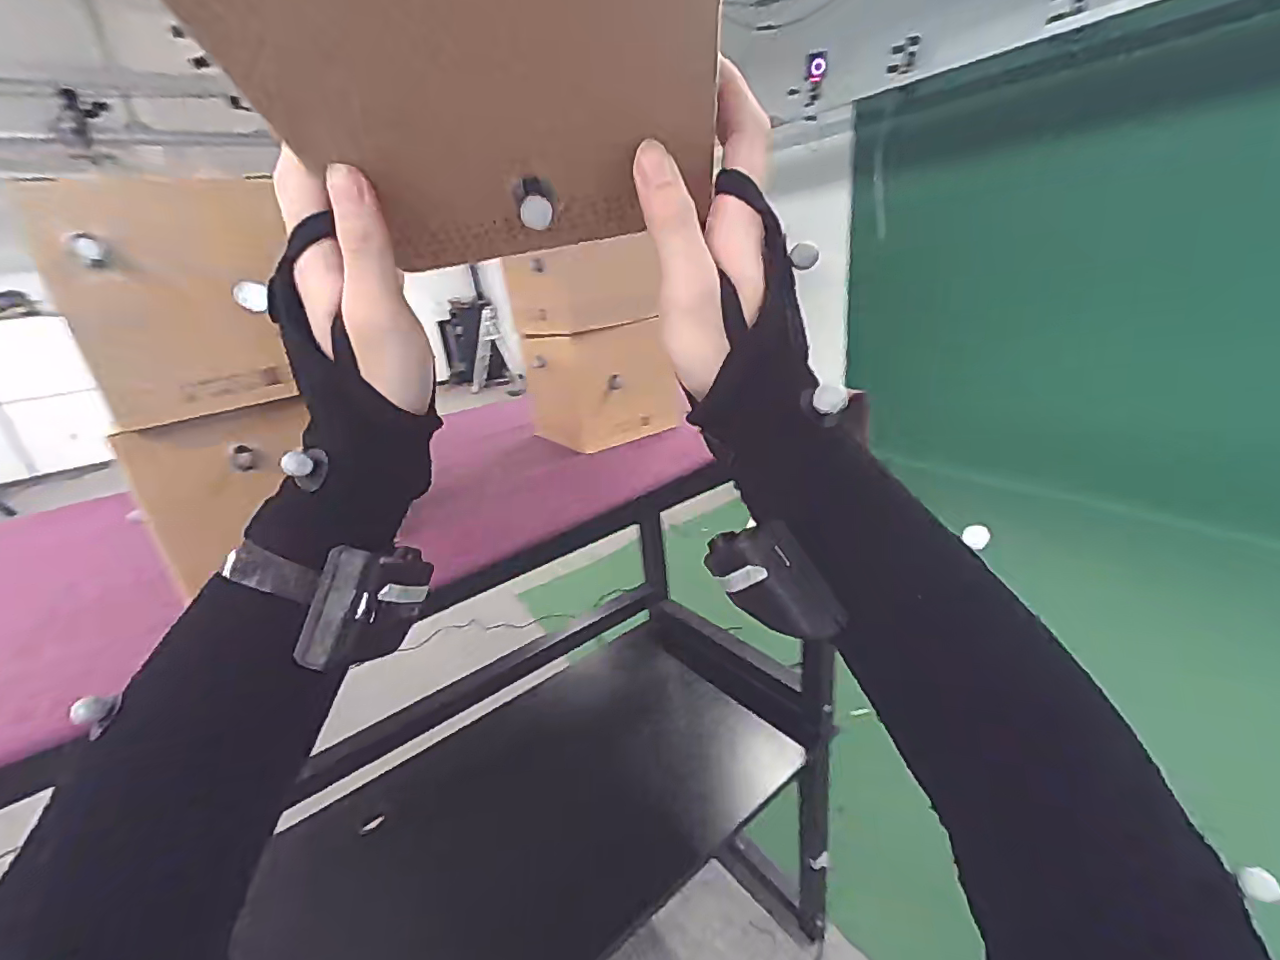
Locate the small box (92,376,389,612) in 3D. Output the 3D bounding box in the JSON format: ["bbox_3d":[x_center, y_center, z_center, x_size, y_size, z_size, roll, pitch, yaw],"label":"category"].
[{"bbox_3d":[-0.378,0.002,0.532,0.179,0.176,0.168,-23,27,-36],"label":"small box"}]

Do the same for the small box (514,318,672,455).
[{"bbox_3d":[-0.068,-0.146,0.819,0.168,0.176,0.179,-20,24,-29],"label":"small box"}]

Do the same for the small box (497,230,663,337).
[{"bbox_3d":[-0.085,-0.295,0.753,0.179,0.176,0.168,-21,25,-33],"label":"small box"}]

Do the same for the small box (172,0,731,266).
[{"bbox_3d":[-0.059,-0.220,0.231,0.179,0.168,0.176,-8,-12,4],"label":"small box"}]
